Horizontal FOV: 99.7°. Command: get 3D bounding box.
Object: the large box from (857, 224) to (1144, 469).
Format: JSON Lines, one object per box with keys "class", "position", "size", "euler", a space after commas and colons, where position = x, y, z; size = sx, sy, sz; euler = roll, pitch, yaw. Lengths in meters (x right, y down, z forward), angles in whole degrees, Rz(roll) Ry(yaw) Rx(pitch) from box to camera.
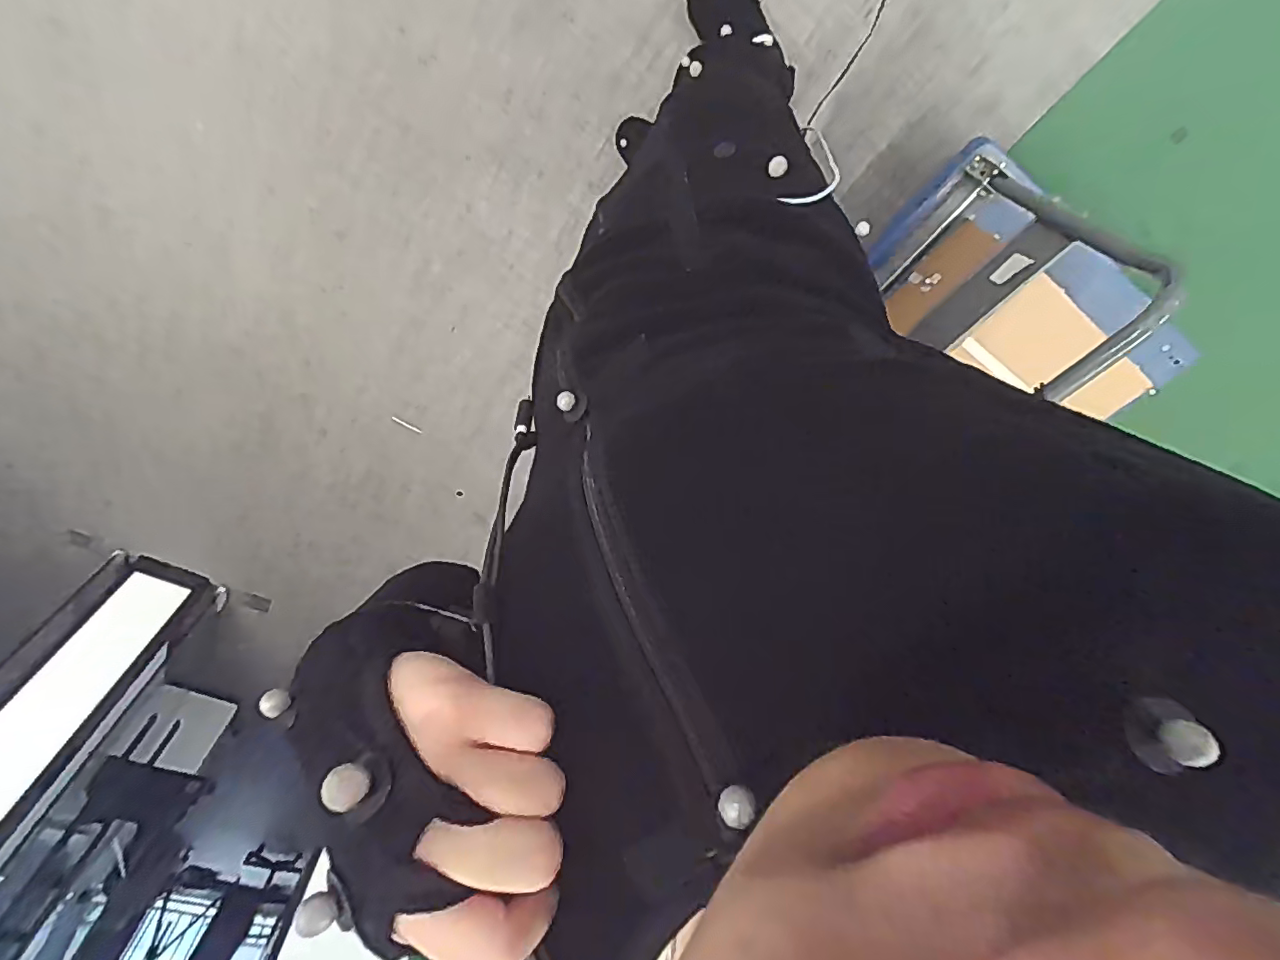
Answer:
{"class": "large box", "position": [0.782, -0.299, 1.229], "size": [0.408, 0.320, 0.320], "euler": [28, 127, -20]}
